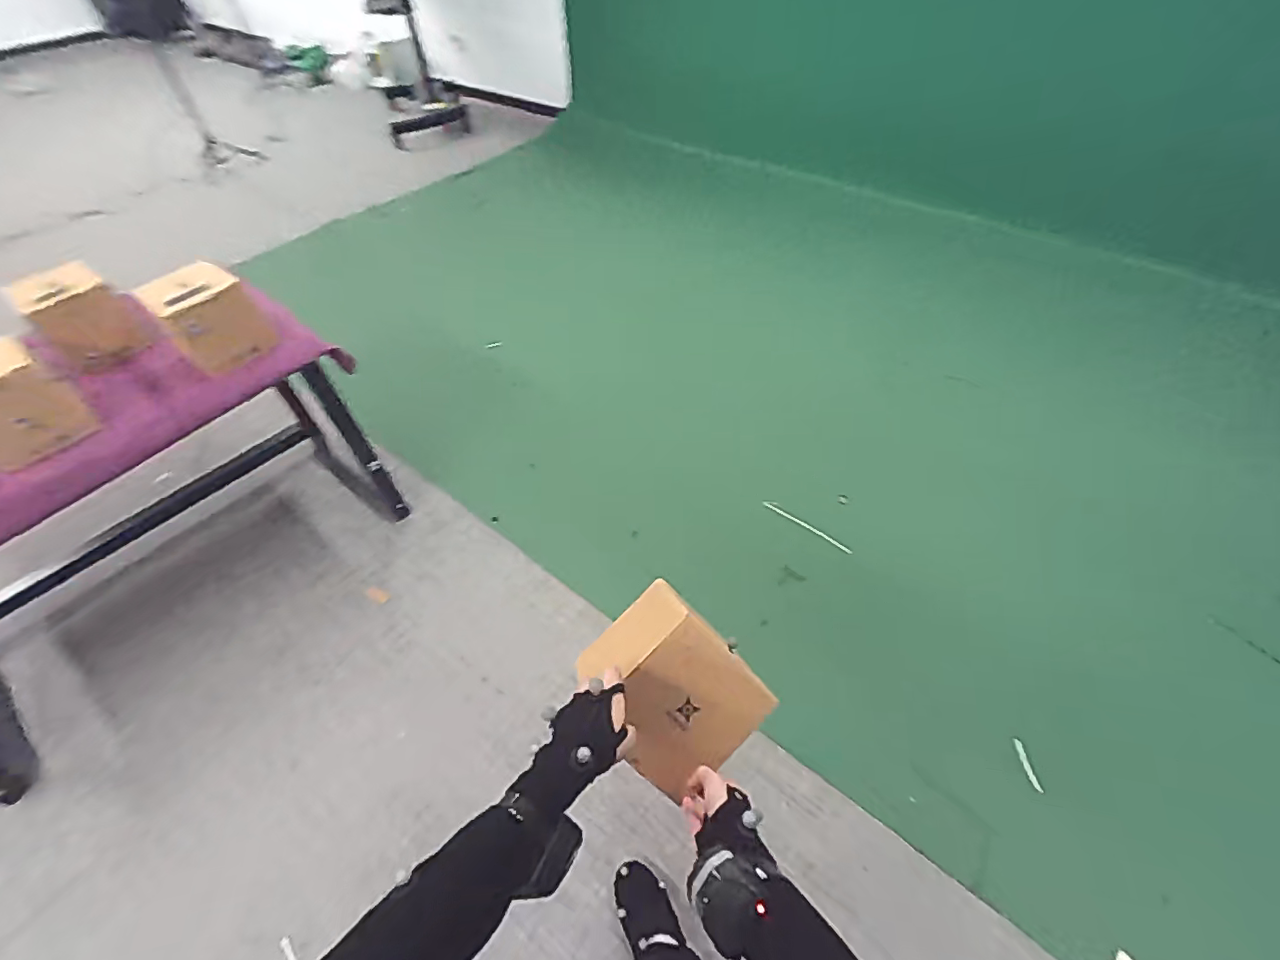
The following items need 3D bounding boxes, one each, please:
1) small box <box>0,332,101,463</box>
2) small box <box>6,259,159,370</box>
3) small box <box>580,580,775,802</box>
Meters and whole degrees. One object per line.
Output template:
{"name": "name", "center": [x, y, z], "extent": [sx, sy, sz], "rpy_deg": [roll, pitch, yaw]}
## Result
{"name": "small box", "center": [-1.241, -0.158, 1.075], "extent": [0.179, 0.176, 0.168], "rpy_deg": [32, 58, 27]}
{"name": "small box", "center": [-1.294, -0.384, 1.268], "extent": [0.179, 0.176, 0.168], "rpy_deg": [30, 57, 26]}
{"name": "small box", "center": [0.035, 0.257, 0.705], "extent": [0.179, 0.176, 0.168], "rpy_deg": [-45, 100, -3]}
